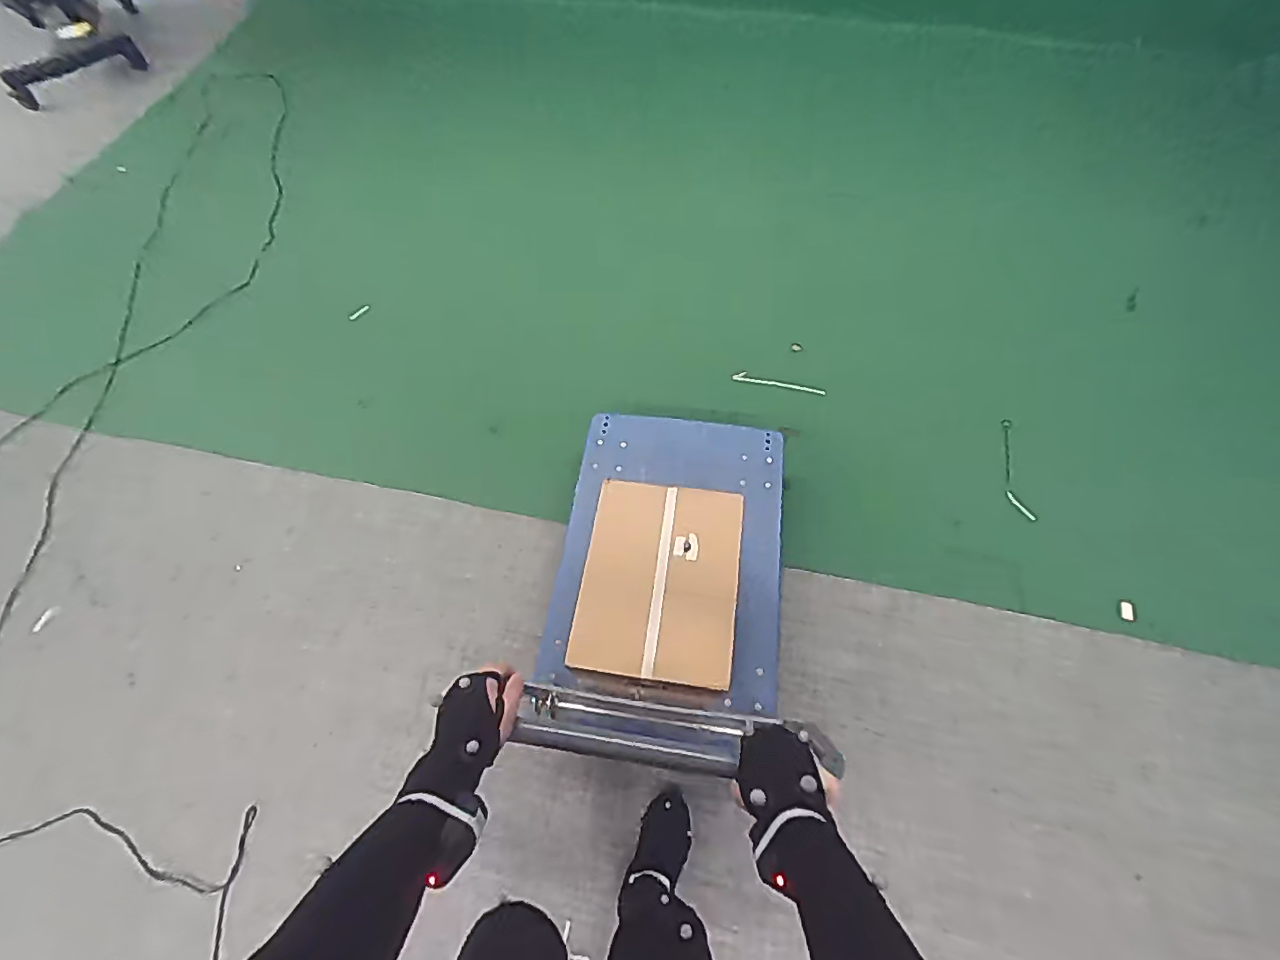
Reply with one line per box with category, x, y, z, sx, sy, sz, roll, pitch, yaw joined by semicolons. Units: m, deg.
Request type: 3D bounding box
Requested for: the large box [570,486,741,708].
large box;0.050;0.271;1.223;0.320;0.320;0.408;6;62;6
